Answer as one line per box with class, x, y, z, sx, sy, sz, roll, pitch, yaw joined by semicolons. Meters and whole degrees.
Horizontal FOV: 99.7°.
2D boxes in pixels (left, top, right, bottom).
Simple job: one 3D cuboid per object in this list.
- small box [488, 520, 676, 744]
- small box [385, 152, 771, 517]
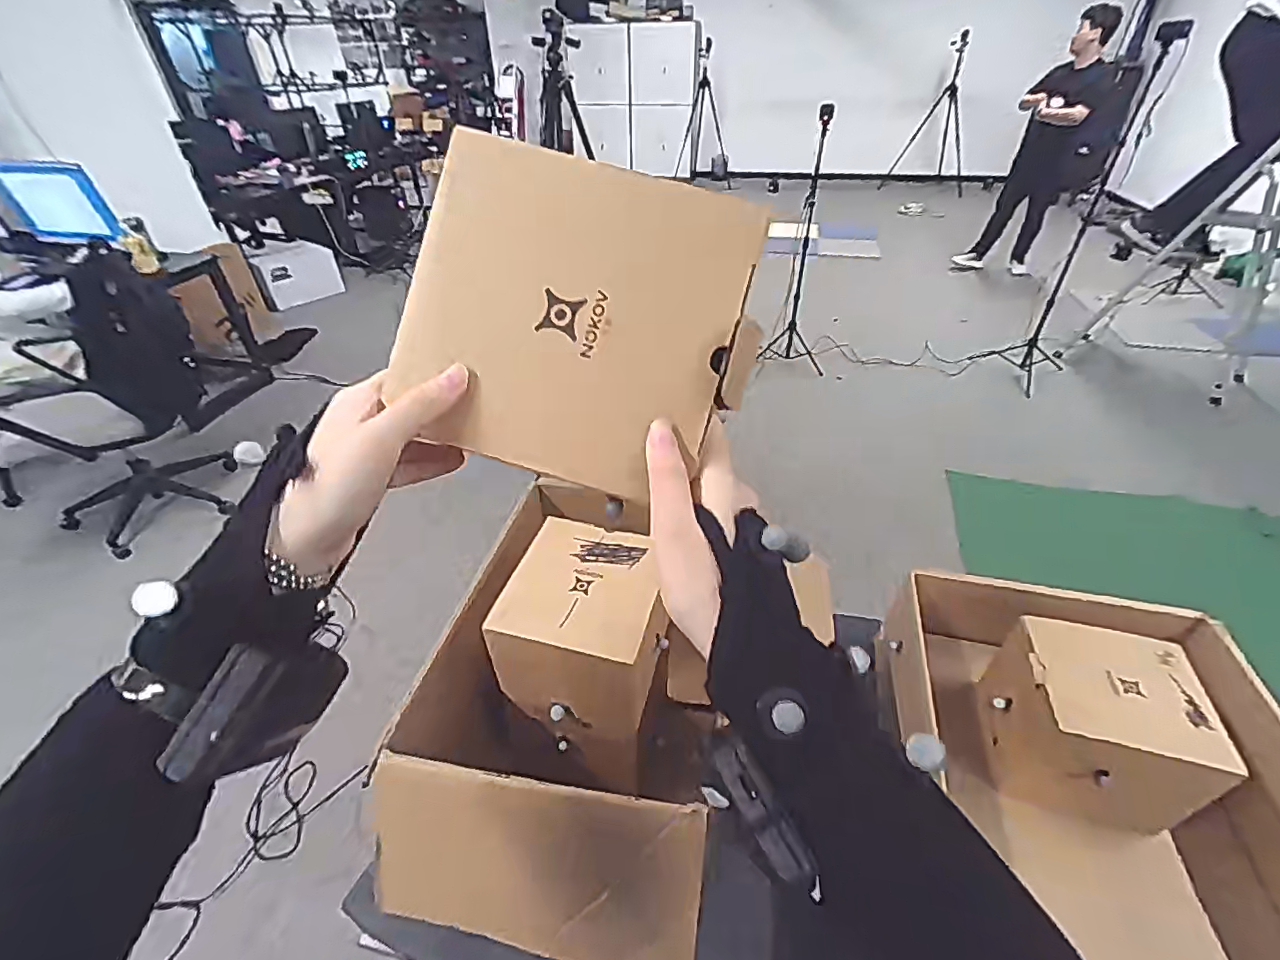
small box;-0.058;0.179;0.652;0.168;0.176;0.179;10;41;13
small box;-0.031;-0.078;0.372;0.179;0.168;0.176;17;0;3
